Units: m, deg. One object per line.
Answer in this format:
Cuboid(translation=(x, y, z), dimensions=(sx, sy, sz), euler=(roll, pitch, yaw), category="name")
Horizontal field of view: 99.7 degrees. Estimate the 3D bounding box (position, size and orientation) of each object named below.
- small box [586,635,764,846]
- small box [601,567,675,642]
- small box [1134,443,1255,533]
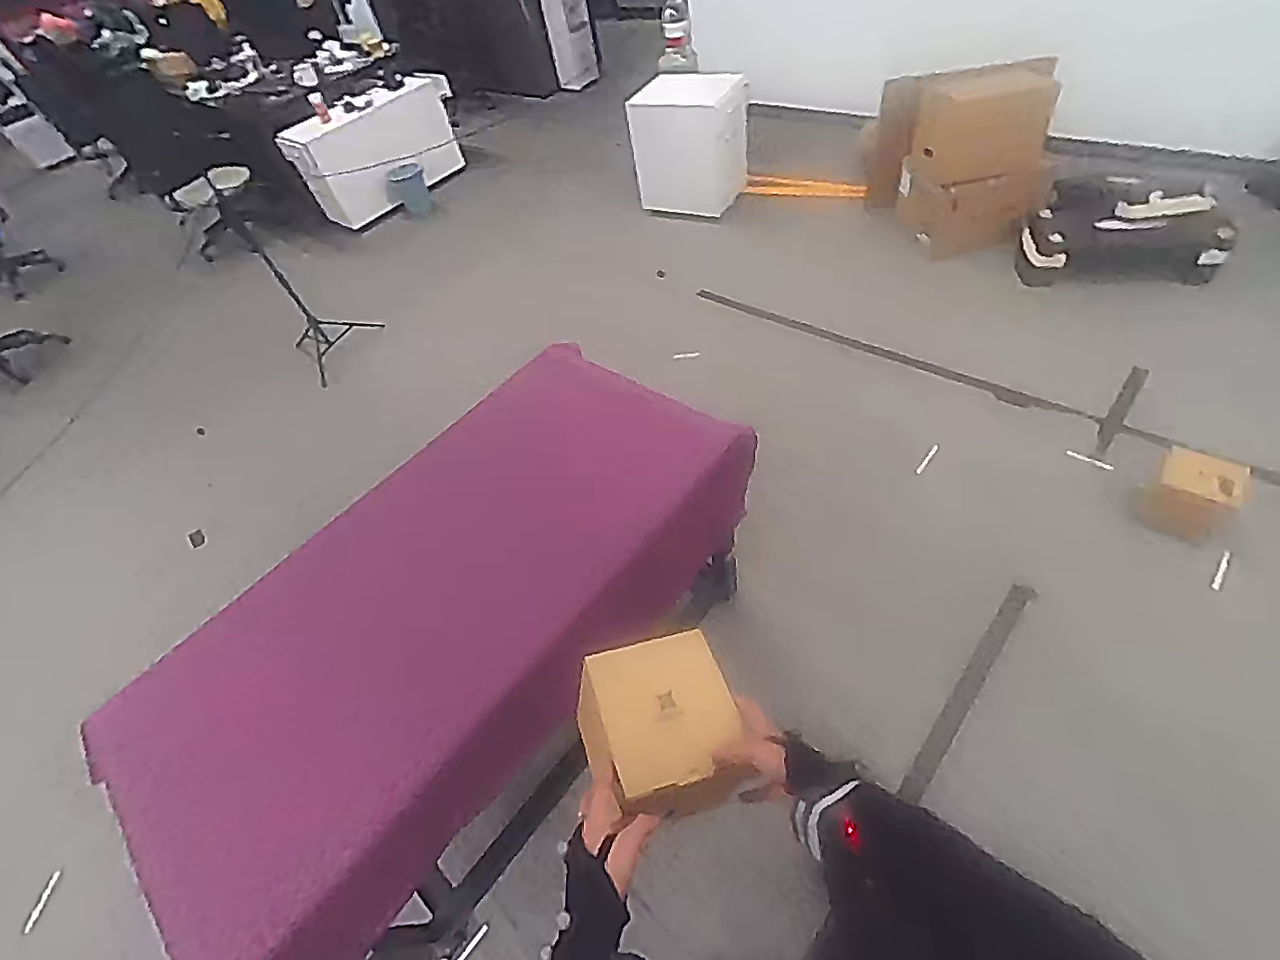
Cuboid(translation=(0.030, 0.336, 0.706), dimensions=(0.168, 0.176, 0.179), euler=(-8, 45, -19), category="small box")
Cuboid(translation=(0.000, 0.383, 1.657), dimensions=(0.179, 0.176, 0.168), euler=(3, 54, 16), category="small box")
Cuboid(translation=(1.600, 0.029, 1.569), dimensions=(0.179, 0.176, 0.168), euler=(28, 63, 30), category="small box")
